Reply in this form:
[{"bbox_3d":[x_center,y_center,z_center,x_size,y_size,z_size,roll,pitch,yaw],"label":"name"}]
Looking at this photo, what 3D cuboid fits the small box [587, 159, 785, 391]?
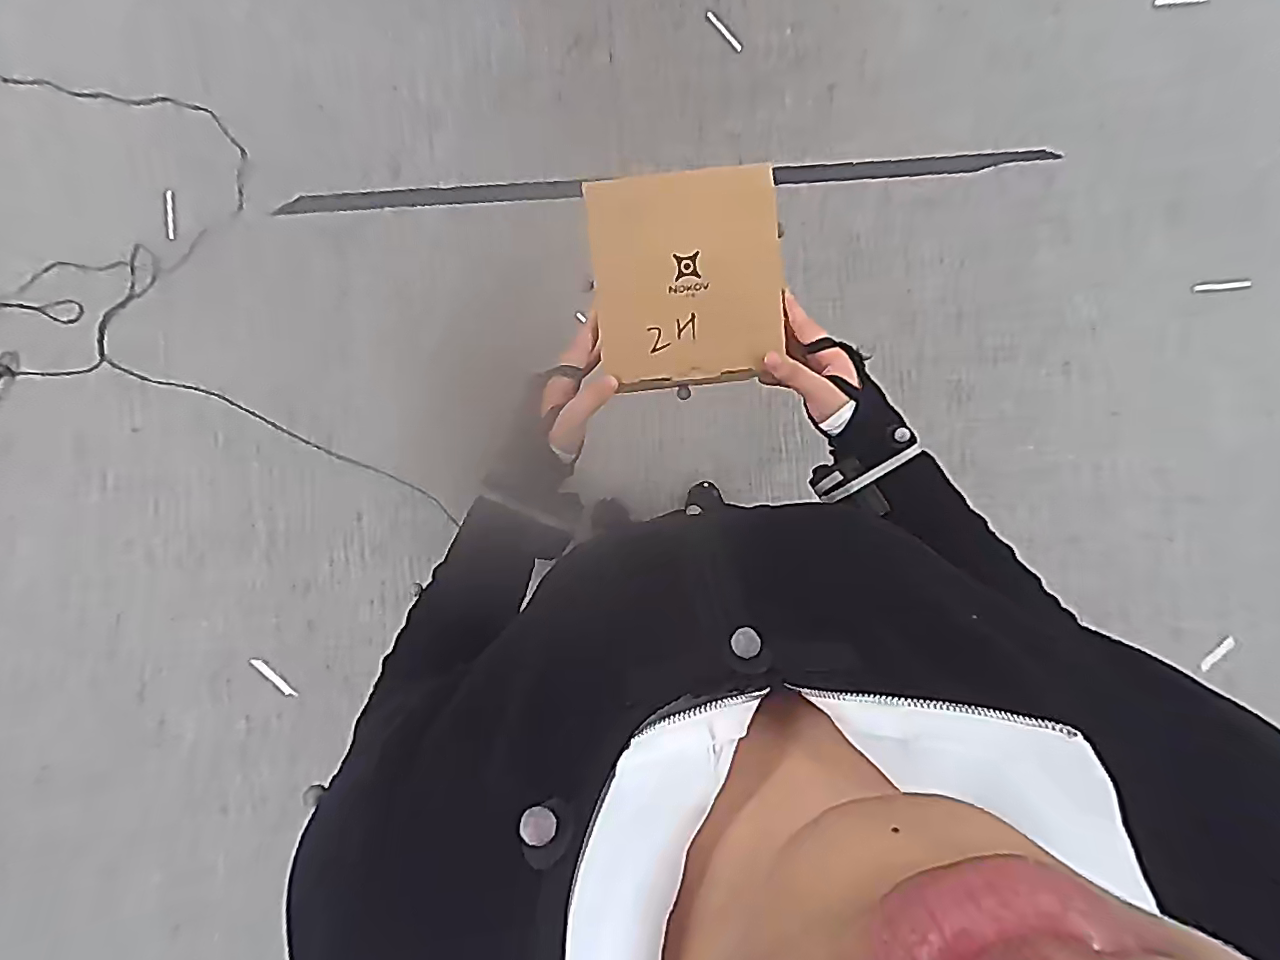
[{"bbox_3d":[0.040,-0.190,0.550,0.168,0.176,0.179,-6,96,0],"label":"small box"}]
